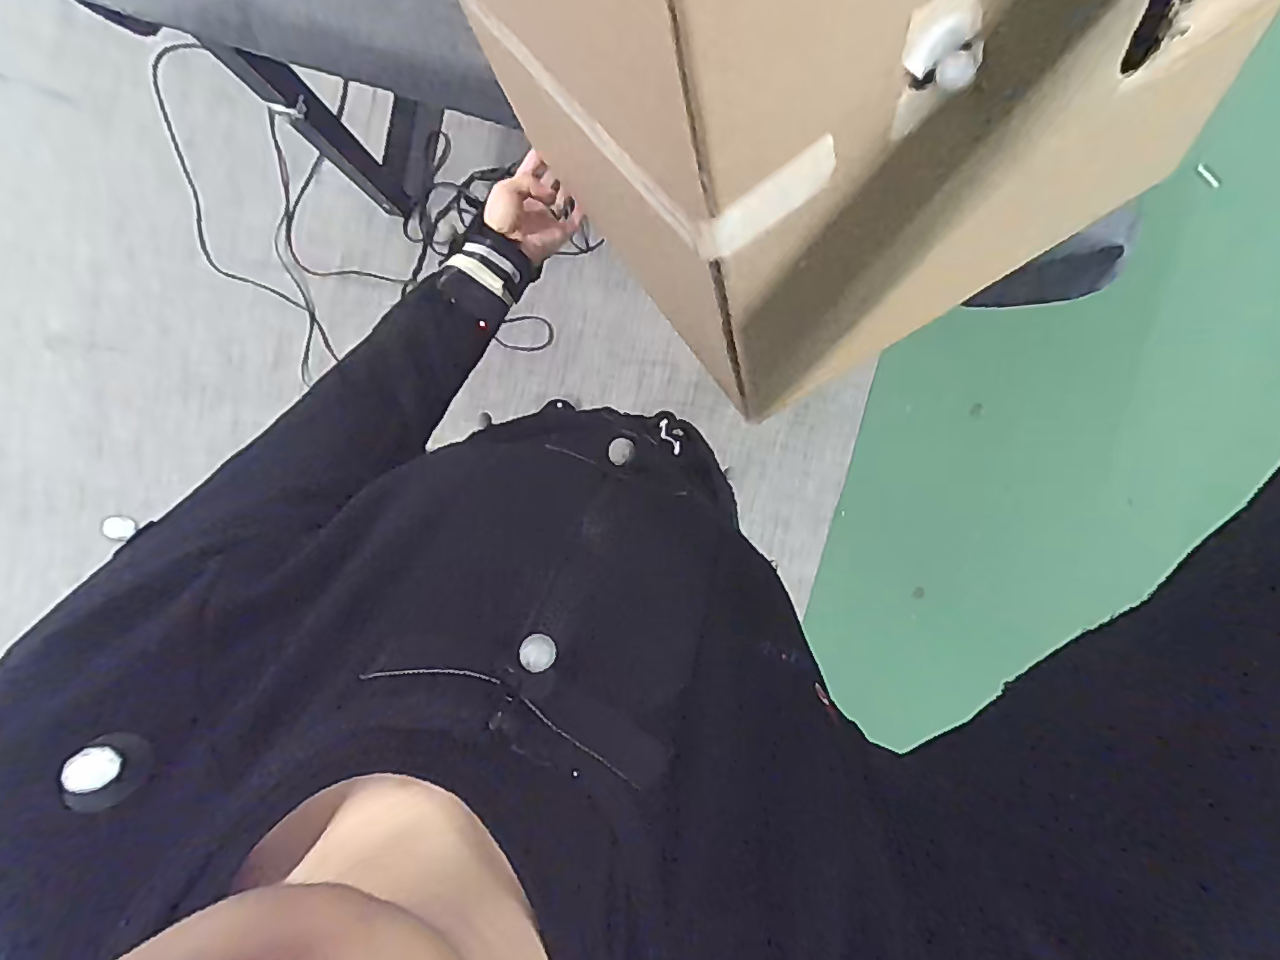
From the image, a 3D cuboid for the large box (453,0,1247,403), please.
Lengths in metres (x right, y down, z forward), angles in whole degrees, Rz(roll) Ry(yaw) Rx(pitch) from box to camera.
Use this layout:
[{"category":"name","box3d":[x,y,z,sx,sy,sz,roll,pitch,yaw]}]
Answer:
[{"category":"large box","box3d":[0.069,-0.327,0.312,0.320,0.320,0.408,-33,62,1]}]
